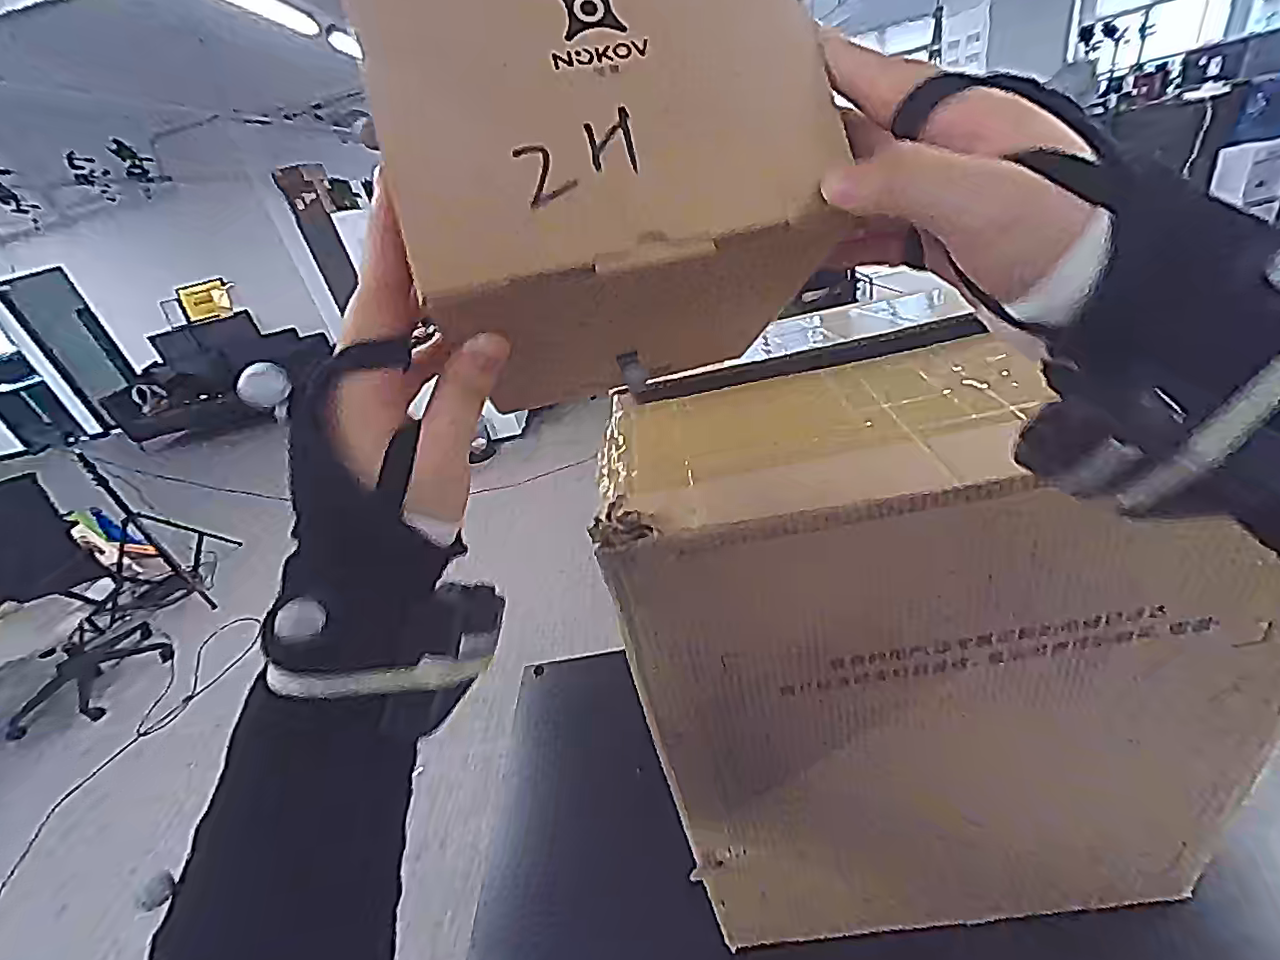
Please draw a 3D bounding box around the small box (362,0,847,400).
[{"bbox_3d":[-0.026,-0.163,0.286,0.168,0.179,0.176,-15,-7,-6],"label":"small box"}]
